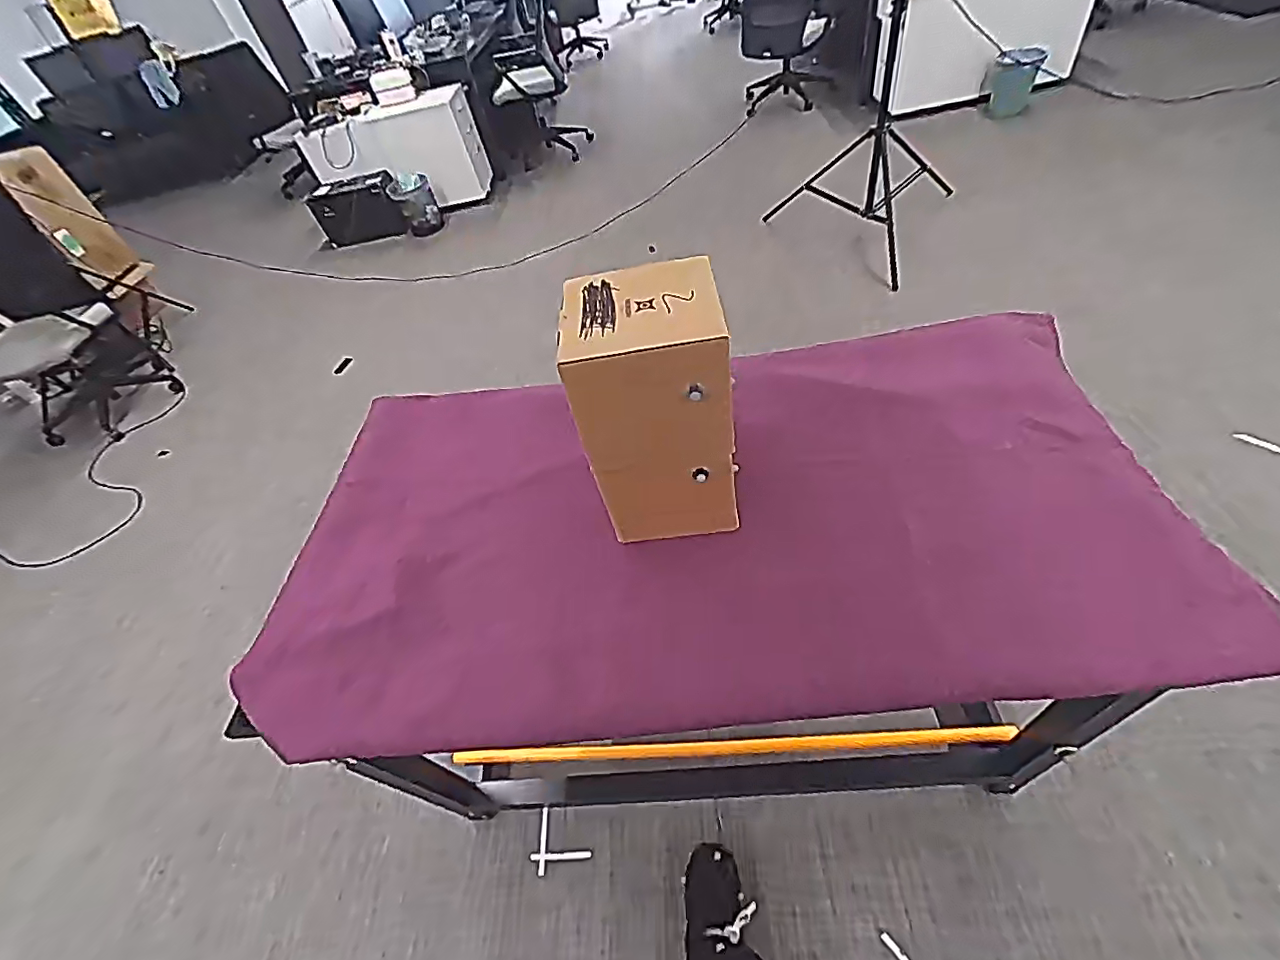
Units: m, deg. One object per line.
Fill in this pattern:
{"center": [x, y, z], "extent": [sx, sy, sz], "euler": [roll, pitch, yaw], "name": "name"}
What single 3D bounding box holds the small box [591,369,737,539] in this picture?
{"center": [0.038, -0.030, 0.767], "extent": [0.179, 0.176, 0.168], "euler": [-7, 48, 7], "name": "small box"}
